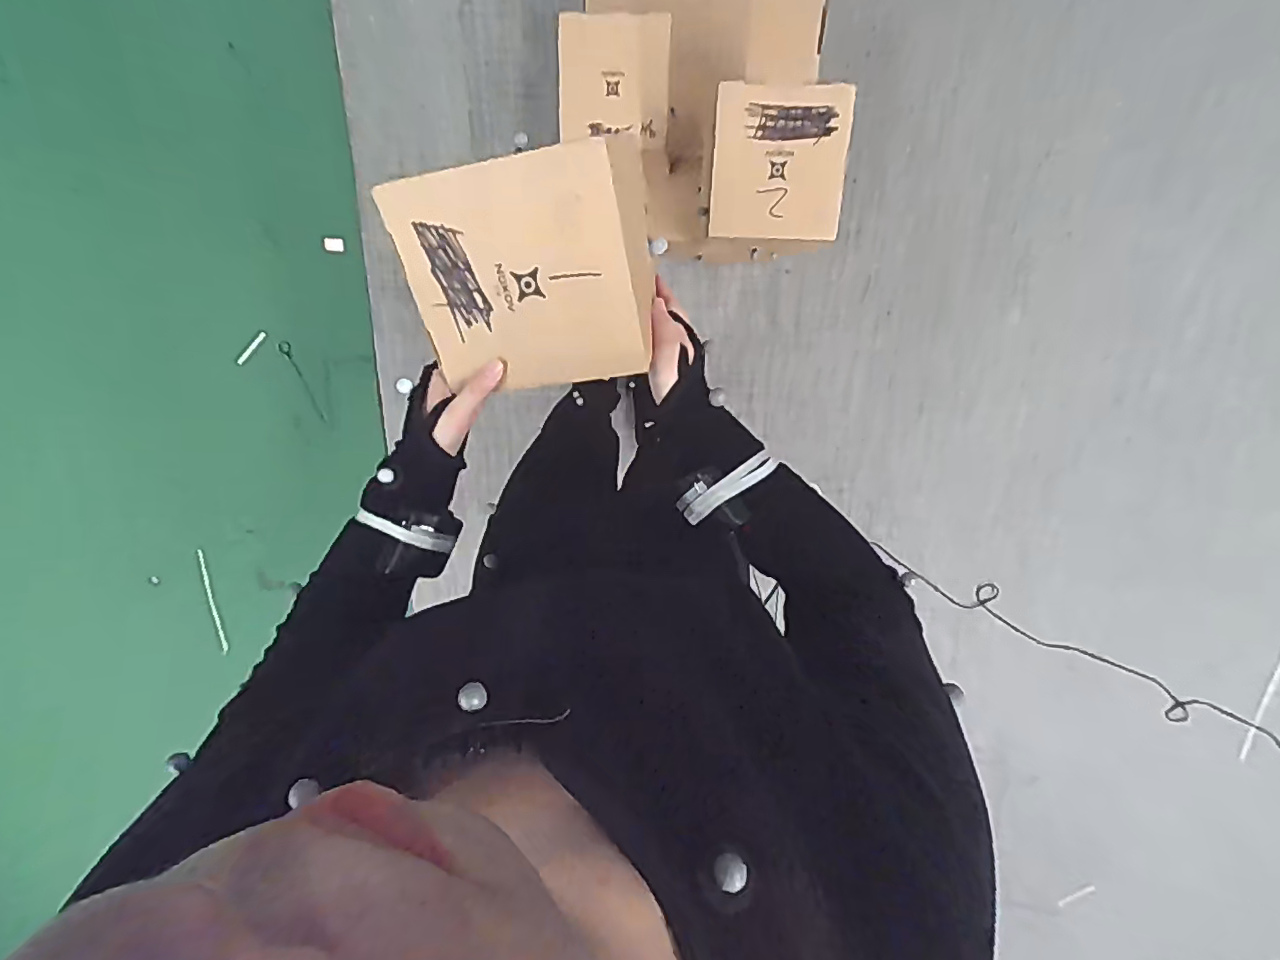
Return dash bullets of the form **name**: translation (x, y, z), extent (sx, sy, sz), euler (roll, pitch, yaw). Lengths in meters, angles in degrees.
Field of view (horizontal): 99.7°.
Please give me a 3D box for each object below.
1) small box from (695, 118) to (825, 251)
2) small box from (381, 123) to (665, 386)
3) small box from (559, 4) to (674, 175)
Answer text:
- **small box**: translation (0.187, -0.479, 0.896), extent (0.179, 0.176, 0.168), euler (2, 108, 3)
- **small box**: translation (-0.079, -0.196, 0.473), extent (0.179, 0.176, 0.168), euler (-6, 121, 9)
- **small box**: translation (-0.032, -0.613, 0.868), extent (0.168, 0.176, 0.179), euler (4, 107, 3)
